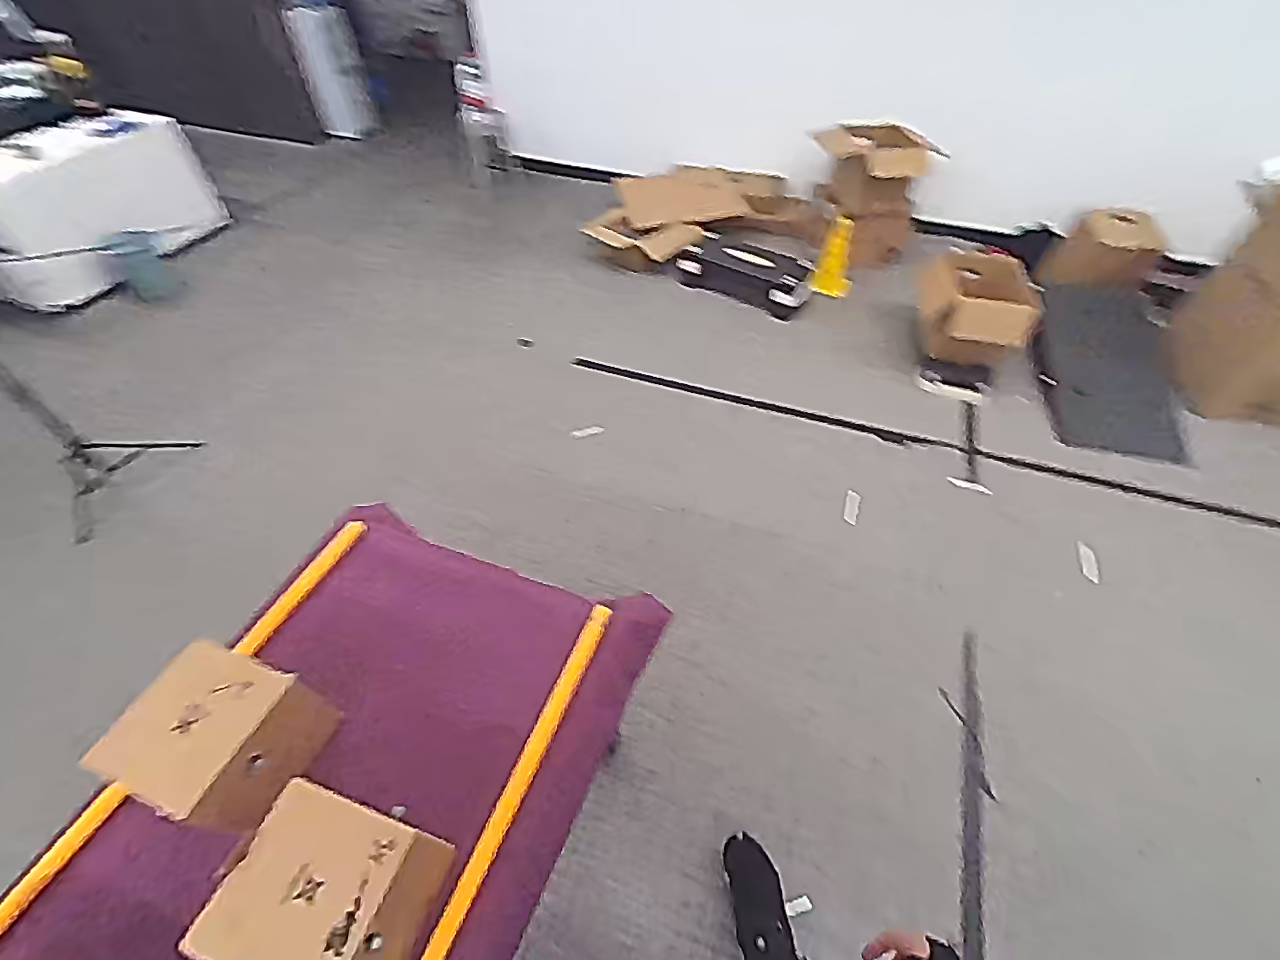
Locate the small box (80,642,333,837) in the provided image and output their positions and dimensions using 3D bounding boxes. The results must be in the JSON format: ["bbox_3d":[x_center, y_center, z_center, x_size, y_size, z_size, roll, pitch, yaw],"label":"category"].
[{"bbox_3d":[-0.566,0.358,0.739,0.168,0.176,0.179,17,52,12],"label":"small box"}]

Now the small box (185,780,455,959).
[{"bbox_3d":[-0.353,0.486,0.634,0.179,0.176,0.168,13,52,13],"label":"small box"}]
